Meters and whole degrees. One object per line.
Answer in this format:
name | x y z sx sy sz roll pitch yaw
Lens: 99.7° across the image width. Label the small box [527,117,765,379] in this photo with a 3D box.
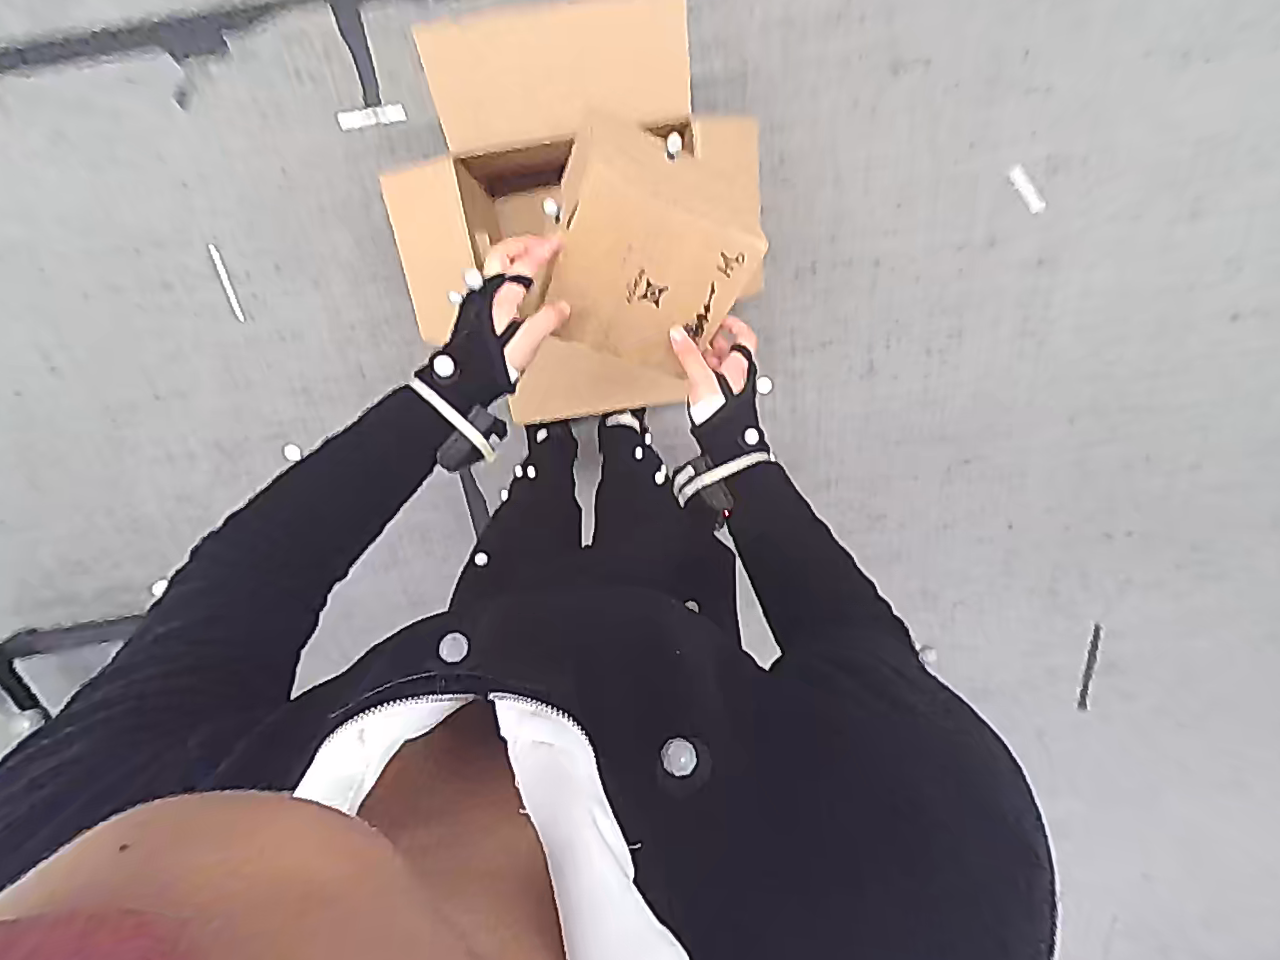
small box | -0.004 -0.240 0.559 0.179 0.176 0.168 15 135 -20
